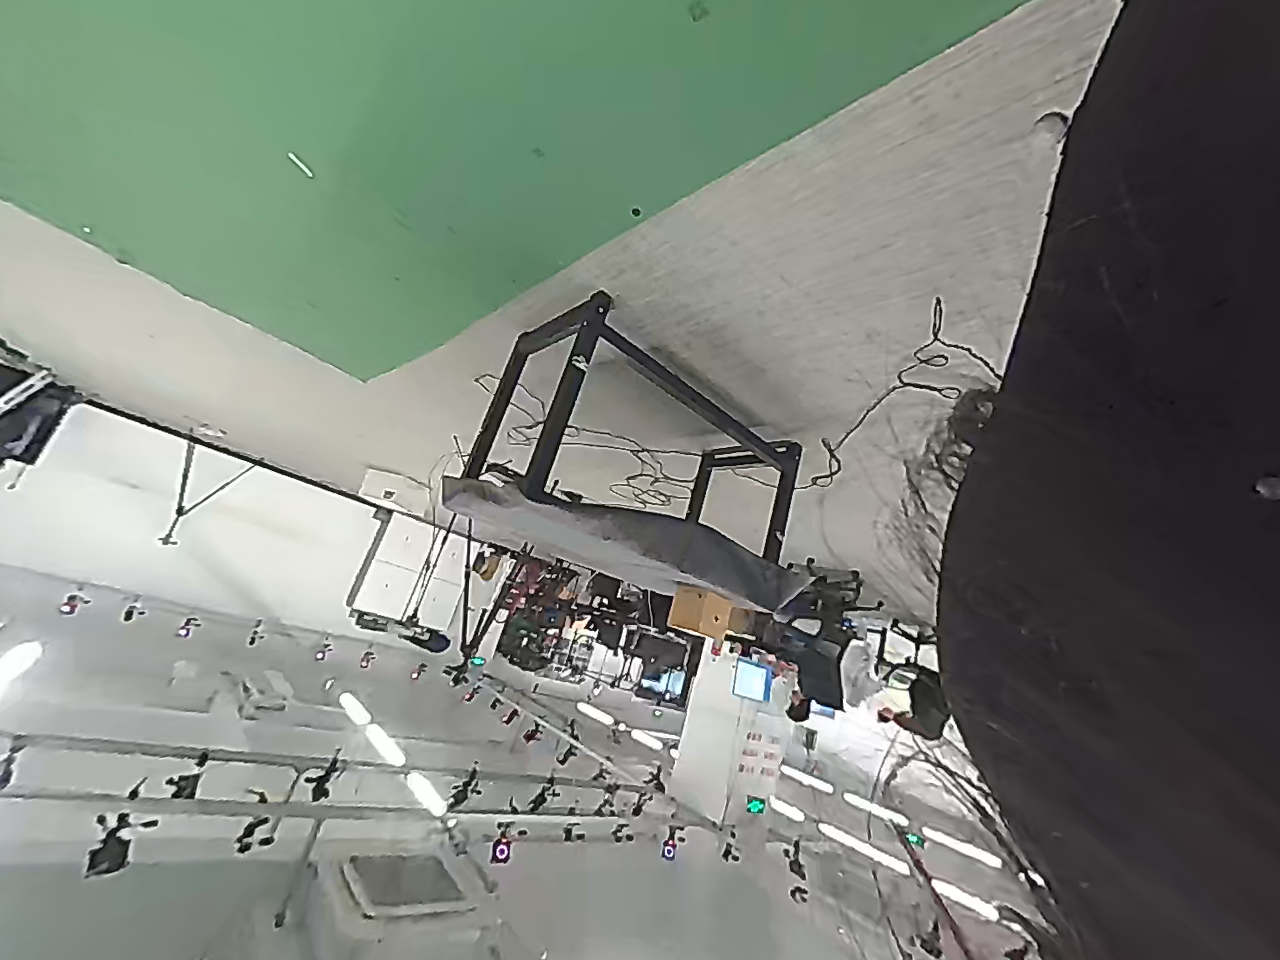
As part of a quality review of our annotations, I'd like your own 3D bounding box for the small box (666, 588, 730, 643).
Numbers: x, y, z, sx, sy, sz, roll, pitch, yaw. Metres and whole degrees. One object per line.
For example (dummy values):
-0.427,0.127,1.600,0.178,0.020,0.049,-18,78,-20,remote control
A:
0.236,0.542,2.176,0.168,0.176,0.179,-1,156,47,small box
